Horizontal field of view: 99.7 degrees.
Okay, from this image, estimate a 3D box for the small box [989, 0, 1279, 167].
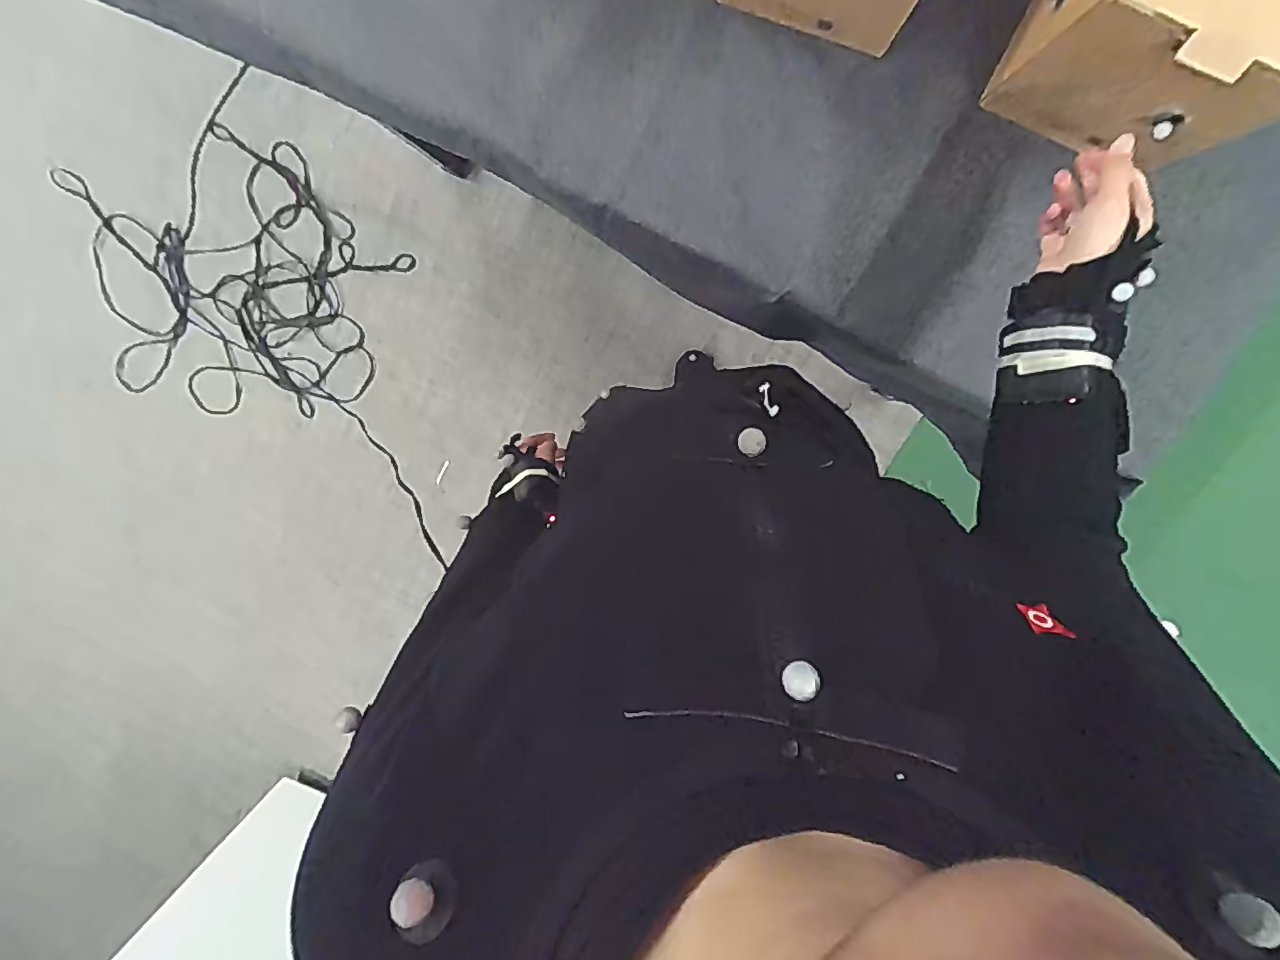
[{"bbox_3d":[0.411,-0.375,0.410,0.168,0.176,0.179,22,104,-2],"label":"small box"}]
